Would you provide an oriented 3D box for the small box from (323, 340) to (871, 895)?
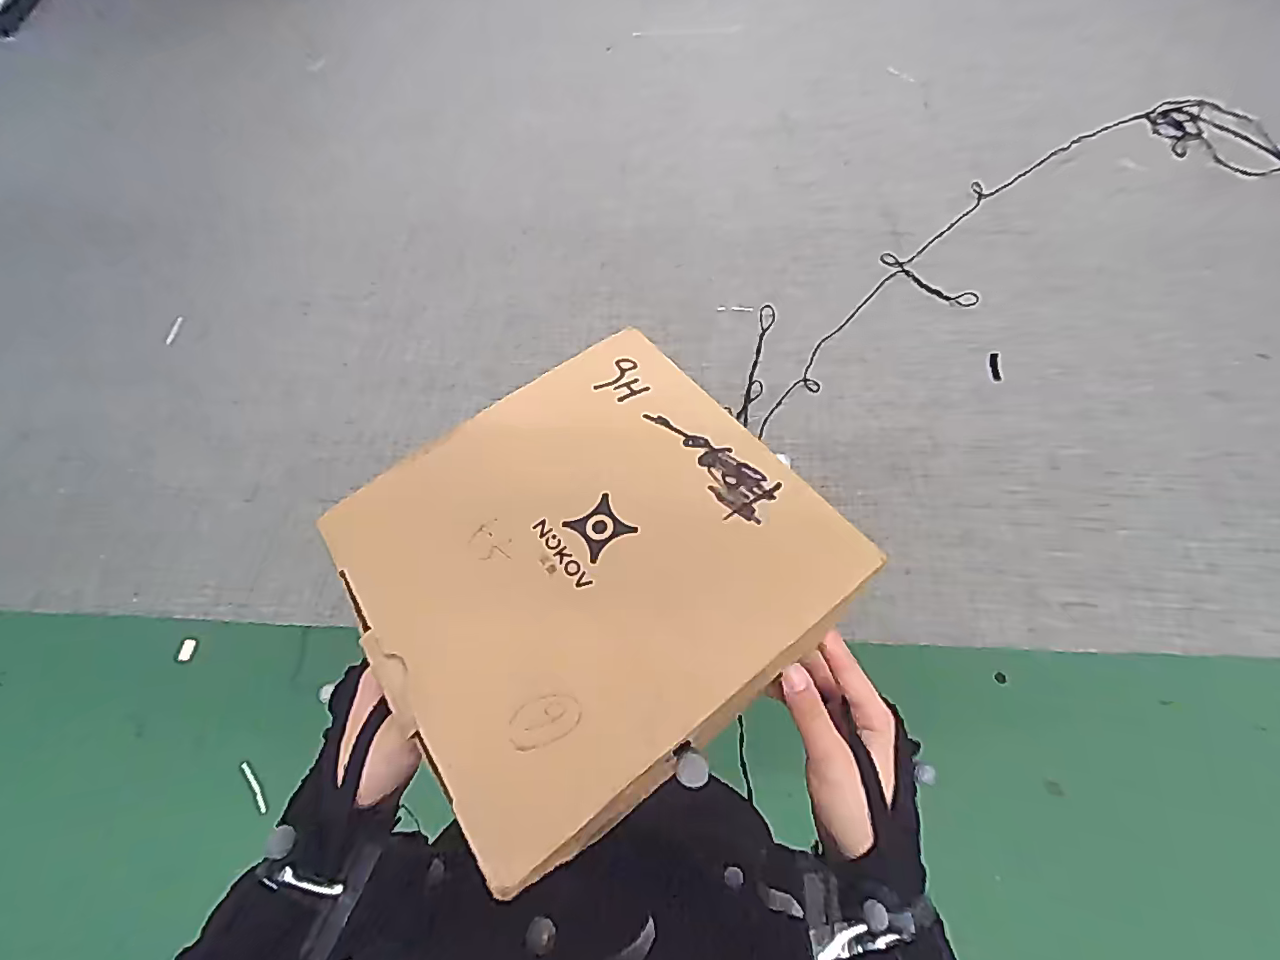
[{"bbox_3d":[-0.017,0.069,0.289,0.179,0.176,0.168,-35,62,-13],"label":"small box"}]
